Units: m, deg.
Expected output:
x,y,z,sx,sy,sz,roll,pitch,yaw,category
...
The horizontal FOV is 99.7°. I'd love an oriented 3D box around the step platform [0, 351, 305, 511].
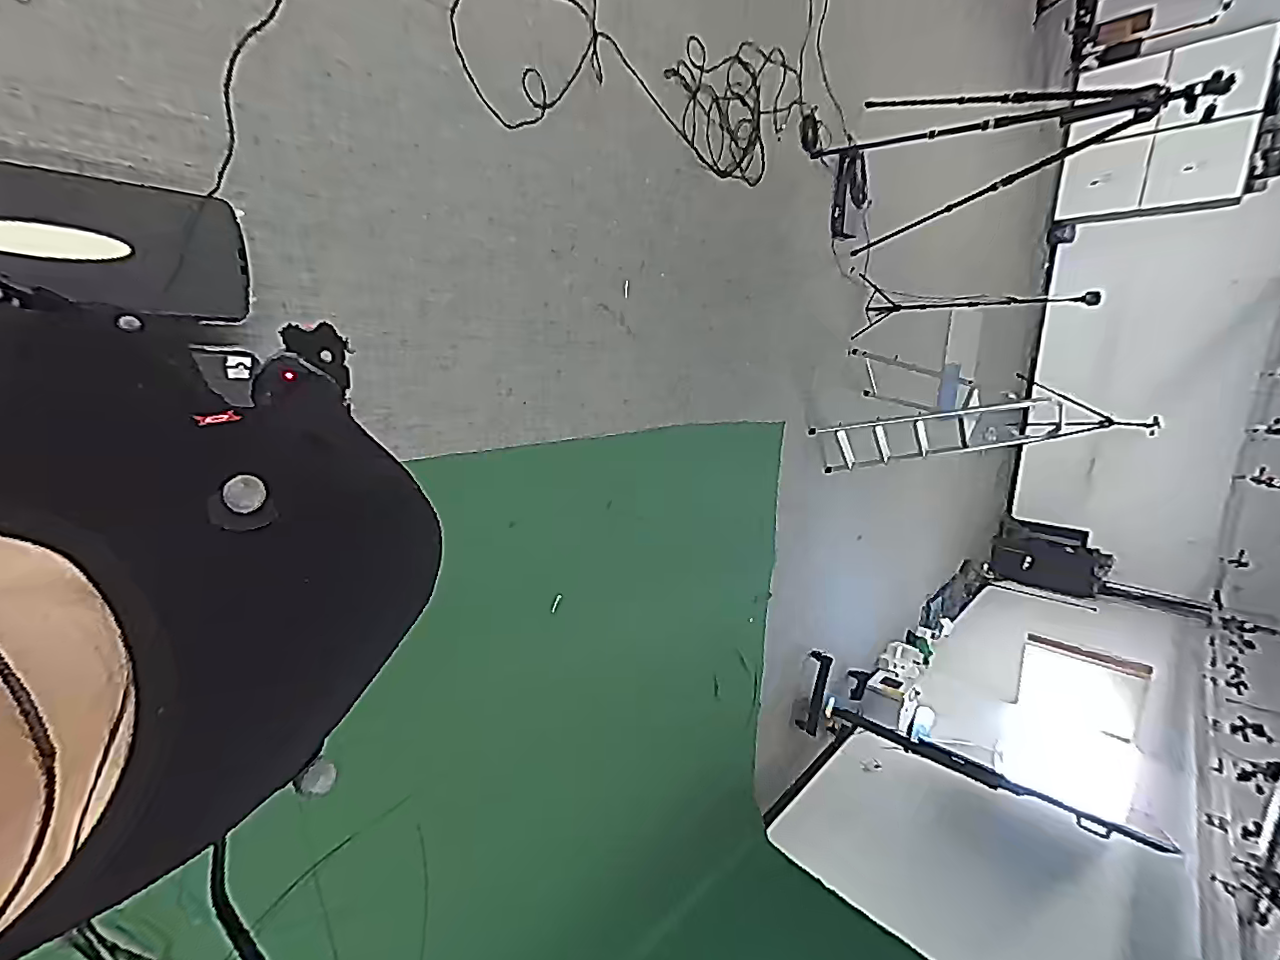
x,y,z,sx,sy,sz,roll,pitch,yaw,category
-1.029,-0.091,0.985,0.684,0.204,0.286,-12,108,-46,step platform
